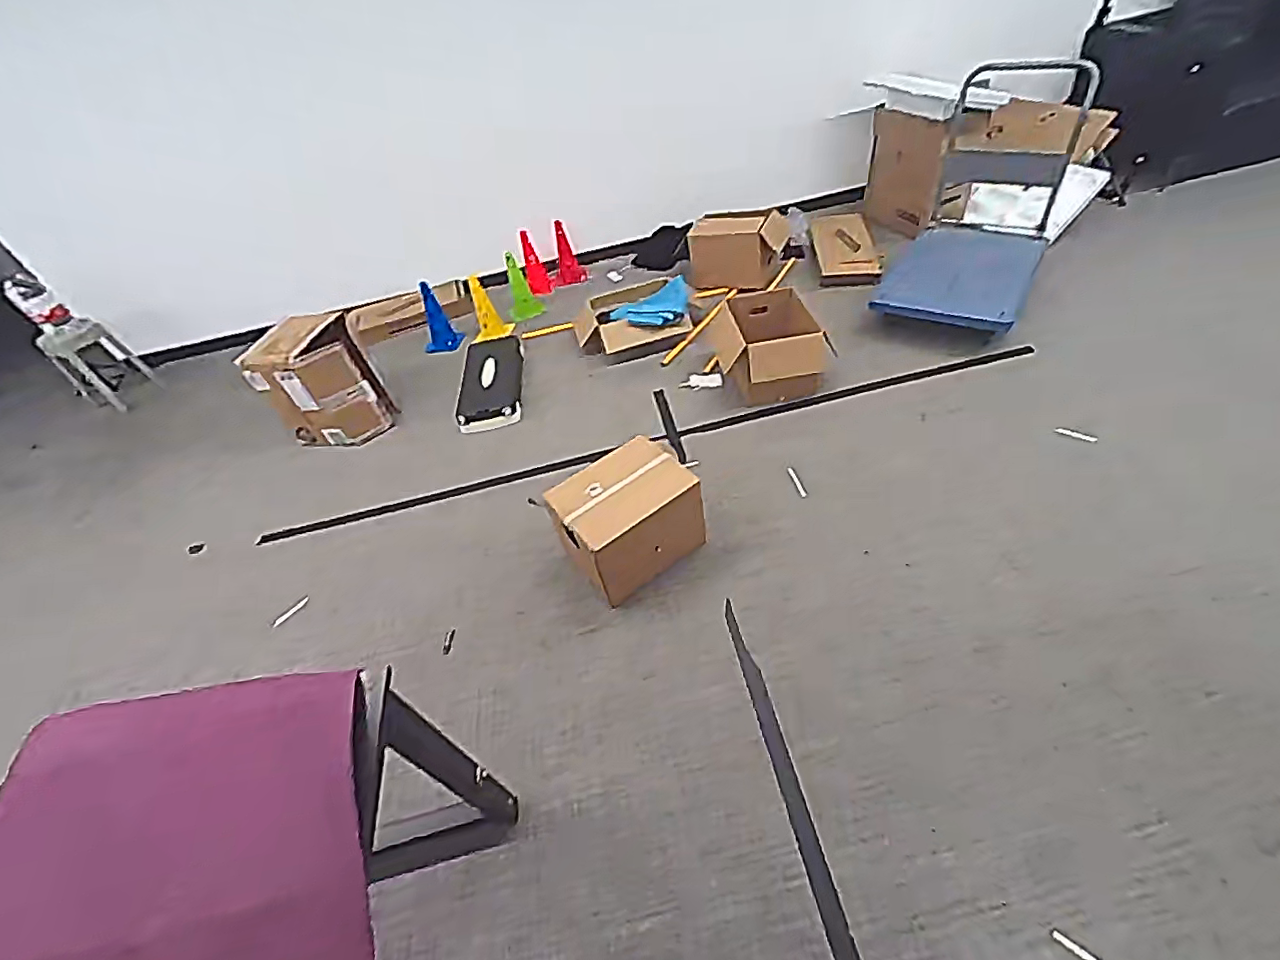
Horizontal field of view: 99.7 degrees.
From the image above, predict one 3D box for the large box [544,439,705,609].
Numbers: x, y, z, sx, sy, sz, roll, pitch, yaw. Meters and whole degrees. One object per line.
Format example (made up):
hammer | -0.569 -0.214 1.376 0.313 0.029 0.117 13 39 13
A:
large box | -0.038 0.139 1.788 0.408 0.320 0.320 -34 48 -19
